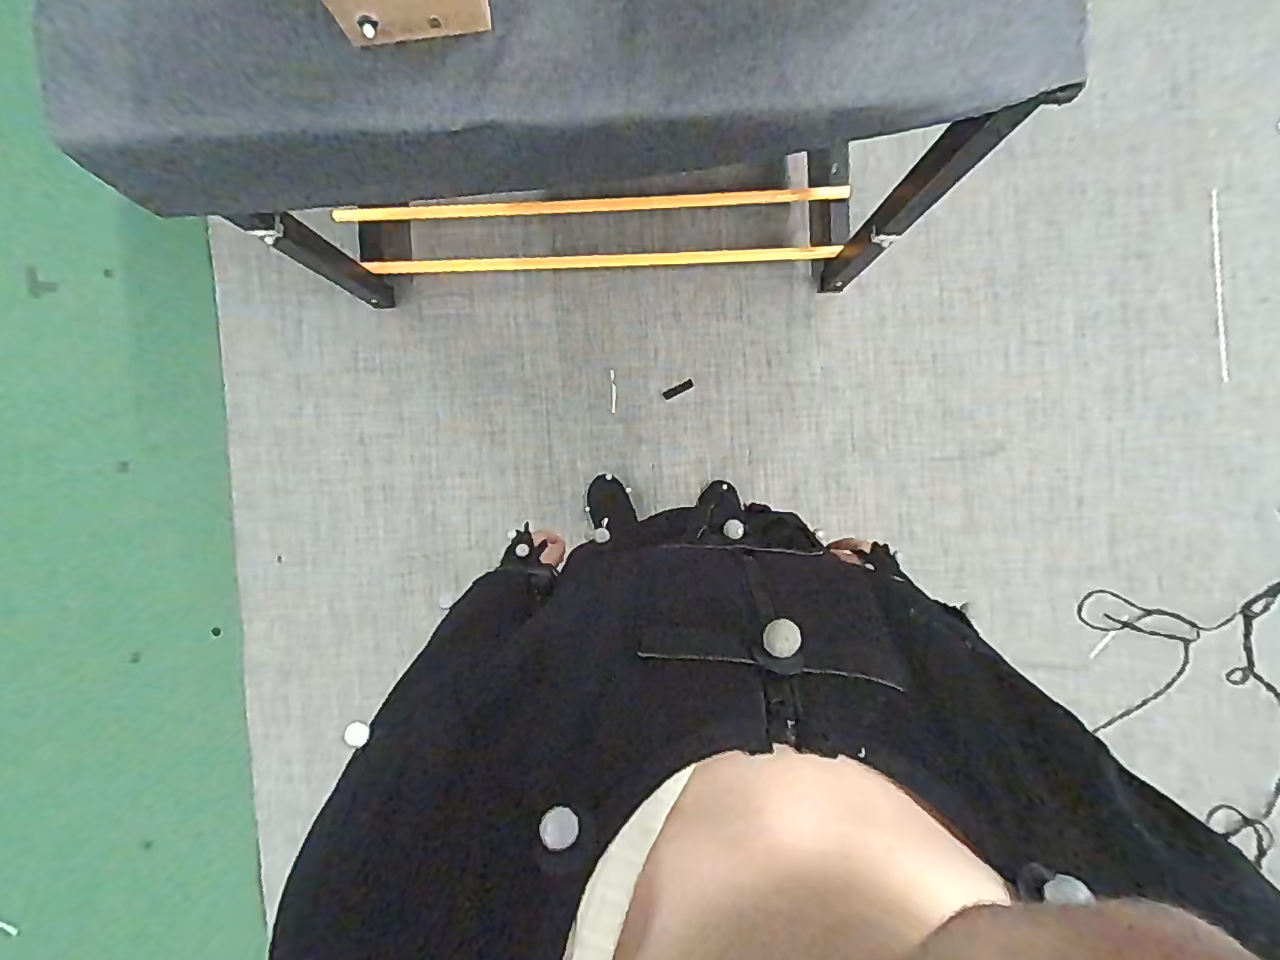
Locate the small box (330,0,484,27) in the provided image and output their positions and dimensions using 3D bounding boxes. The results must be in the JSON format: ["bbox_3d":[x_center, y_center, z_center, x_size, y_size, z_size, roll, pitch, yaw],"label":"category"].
[{"bbox_3d":[-0.266,-0.604,0.545,0.168,0.176,0.179,-6,90,0],"label":"small box"}]
